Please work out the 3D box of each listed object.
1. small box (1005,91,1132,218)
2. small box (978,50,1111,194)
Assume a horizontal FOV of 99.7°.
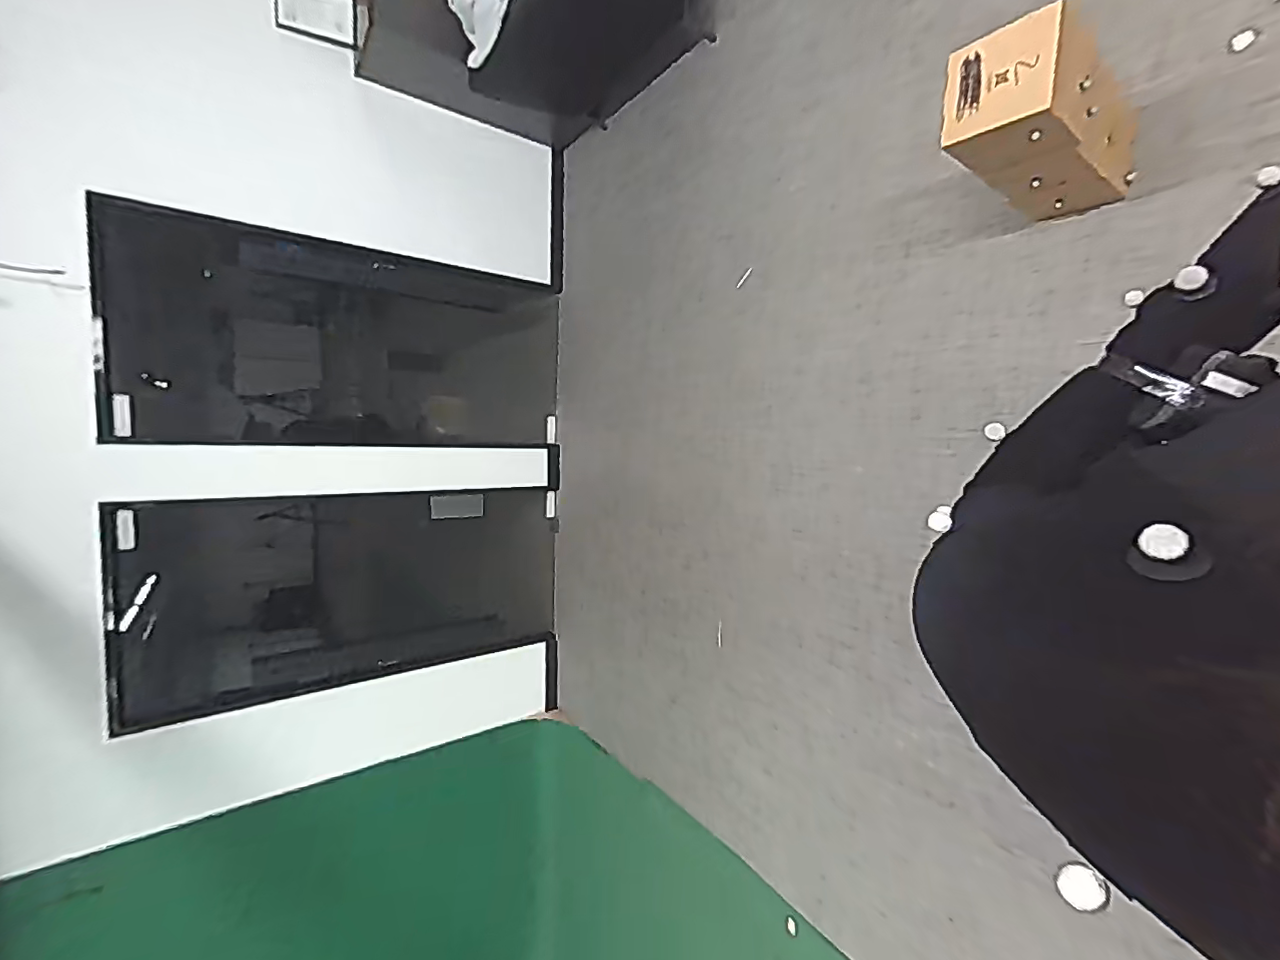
[{"bbox_3d":[0.938,-0.698,1.183,0.179,0.176,0.168,10,100,54],"label":"small box"},{"bbox_3d":[0.809,-0.695,1.081,0.168,0.176,0.179,10,100,53],"label":"small box"}]
